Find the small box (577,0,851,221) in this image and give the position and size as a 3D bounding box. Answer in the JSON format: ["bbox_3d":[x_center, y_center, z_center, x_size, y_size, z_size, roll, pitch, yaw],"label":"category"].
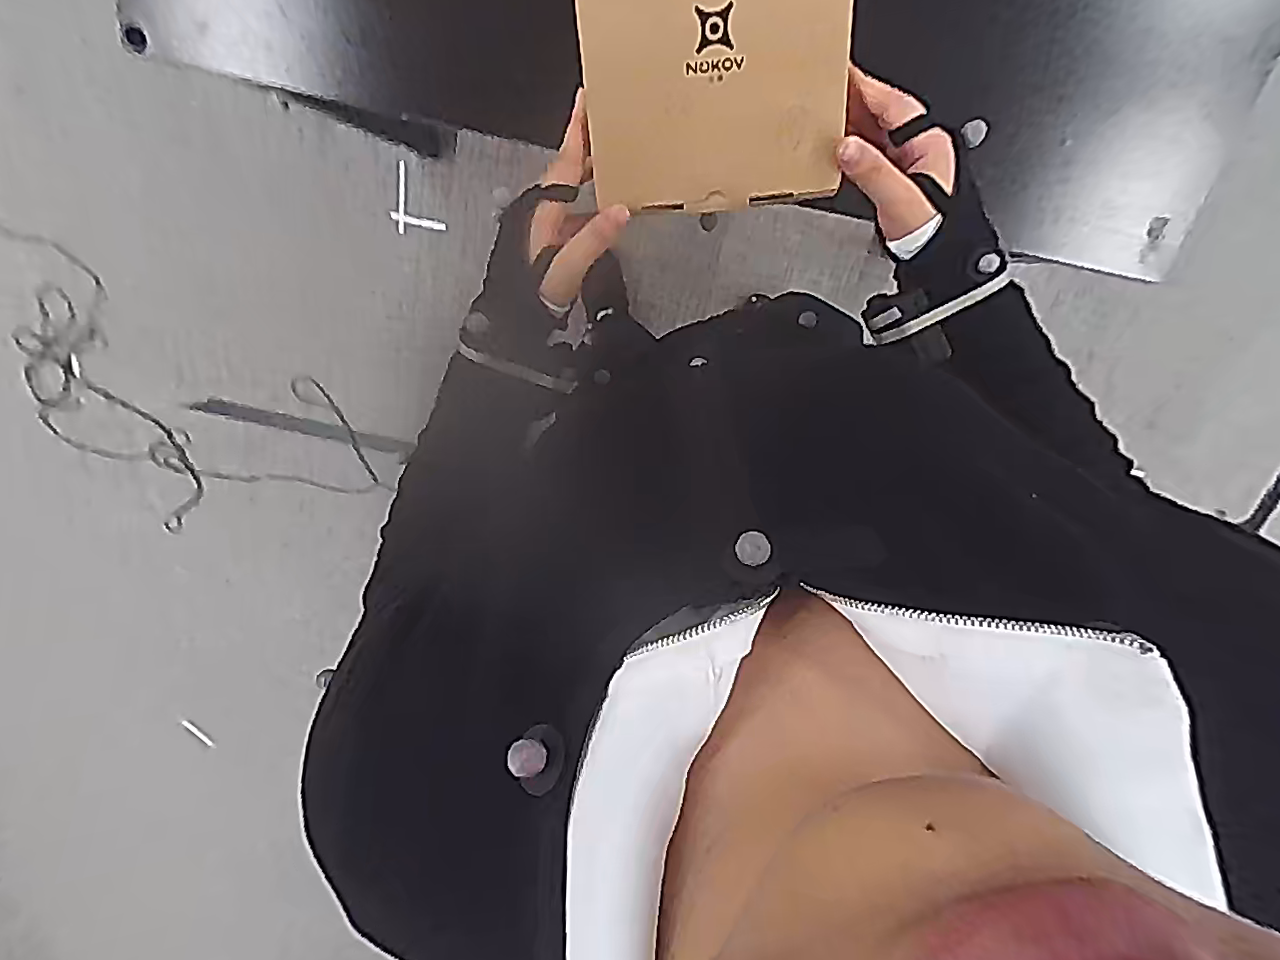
[{"bbox_3d":[0.051,-0.299,0.406,0.168,0.176,0.179,-2,116,5],"label":"small box"}]
